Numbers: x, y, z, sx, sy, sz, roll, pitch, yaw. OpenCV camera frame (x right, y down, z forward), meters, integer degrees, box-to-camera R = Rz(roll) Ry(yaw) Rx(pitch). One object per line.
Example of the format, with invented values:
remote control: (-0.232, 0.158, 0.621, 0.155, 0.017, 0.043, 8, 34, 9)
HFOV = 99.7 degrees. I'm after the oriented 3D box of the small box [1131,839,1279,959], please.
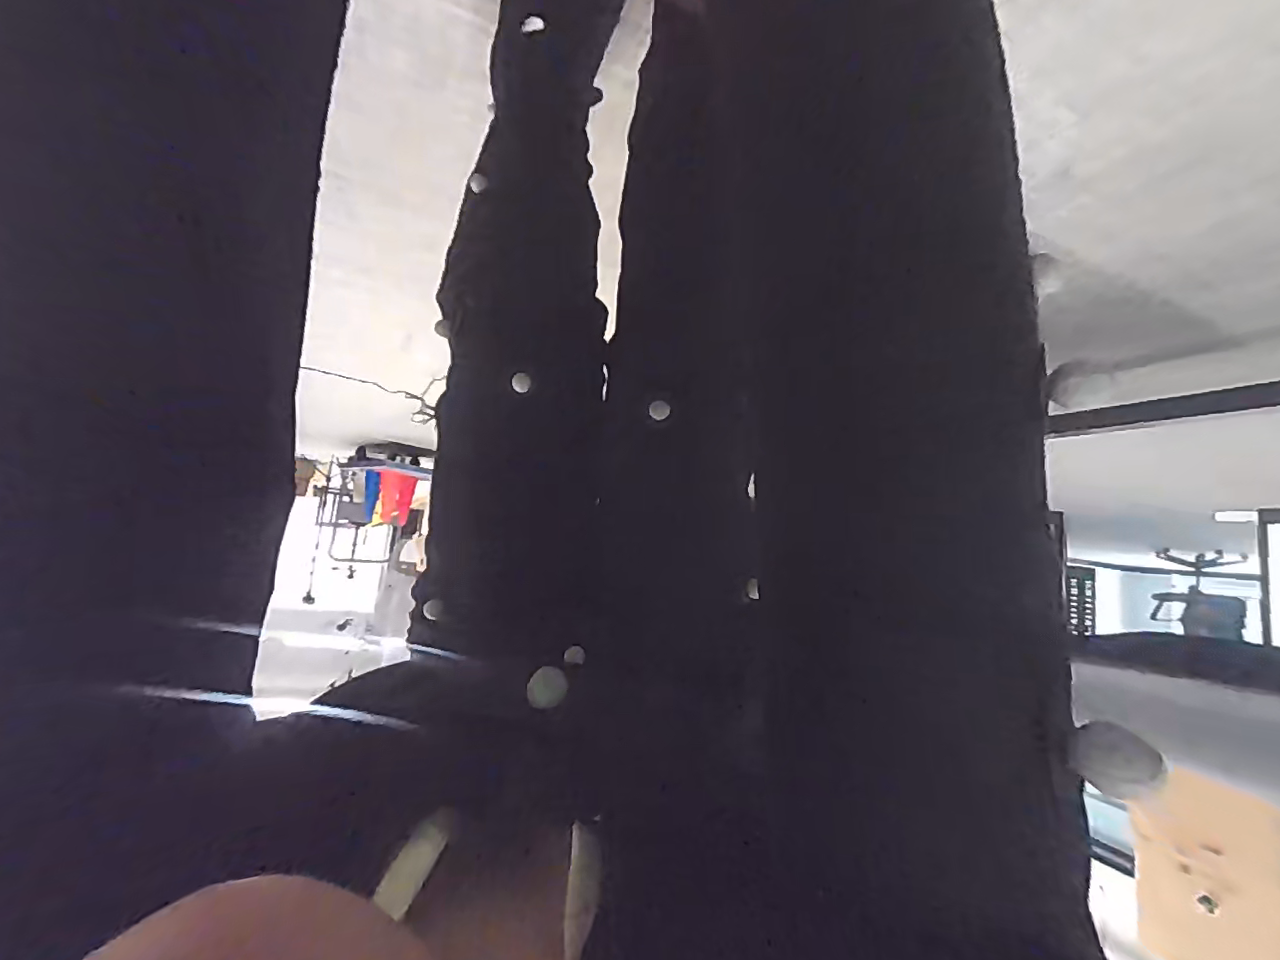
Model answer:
small box: (0.880, 0.647, 0.811, 0.179, 0.176, 0.168, 9, 171, -26)
